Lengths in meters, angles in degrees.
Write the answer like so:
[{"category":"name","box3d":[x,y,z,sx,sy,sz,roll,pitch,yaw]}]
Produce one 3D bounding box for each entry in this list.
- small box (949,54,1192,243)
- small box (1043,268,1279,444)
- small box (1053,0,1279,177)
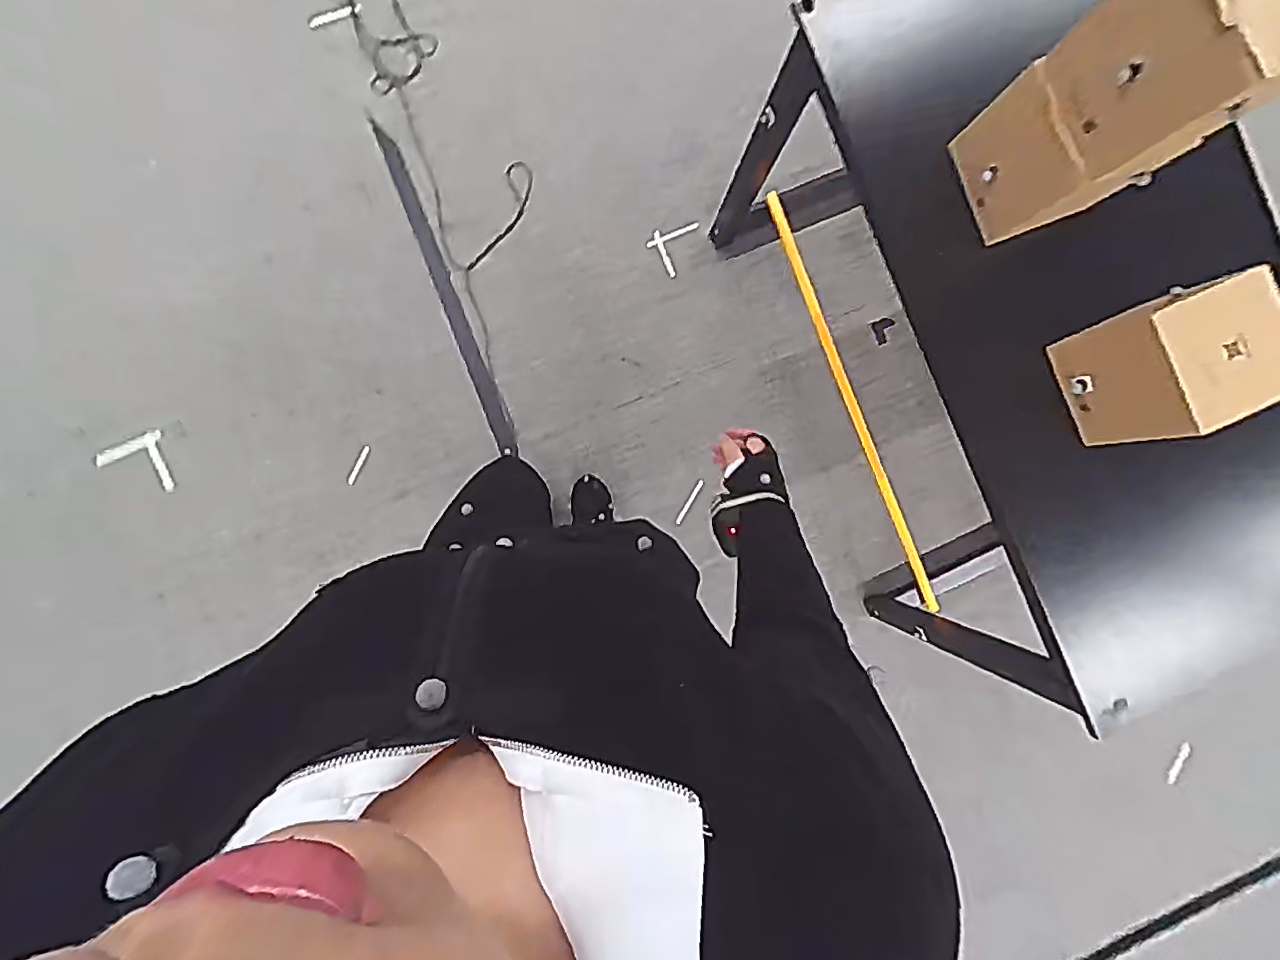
[{"category":"small box","box3d":[0.578,-0.463,0.749,0.179,0.176,0.168,-22,91,-4]},{"category":"small box","box3d":[0.731,-0.162,0.760,0.179,0.176,0.168,-24,90,-4]},{"category":"small box","box3d":[0.599,-0.470,0.586,0.179,0.176,0.168,-24,92,-4]}]
